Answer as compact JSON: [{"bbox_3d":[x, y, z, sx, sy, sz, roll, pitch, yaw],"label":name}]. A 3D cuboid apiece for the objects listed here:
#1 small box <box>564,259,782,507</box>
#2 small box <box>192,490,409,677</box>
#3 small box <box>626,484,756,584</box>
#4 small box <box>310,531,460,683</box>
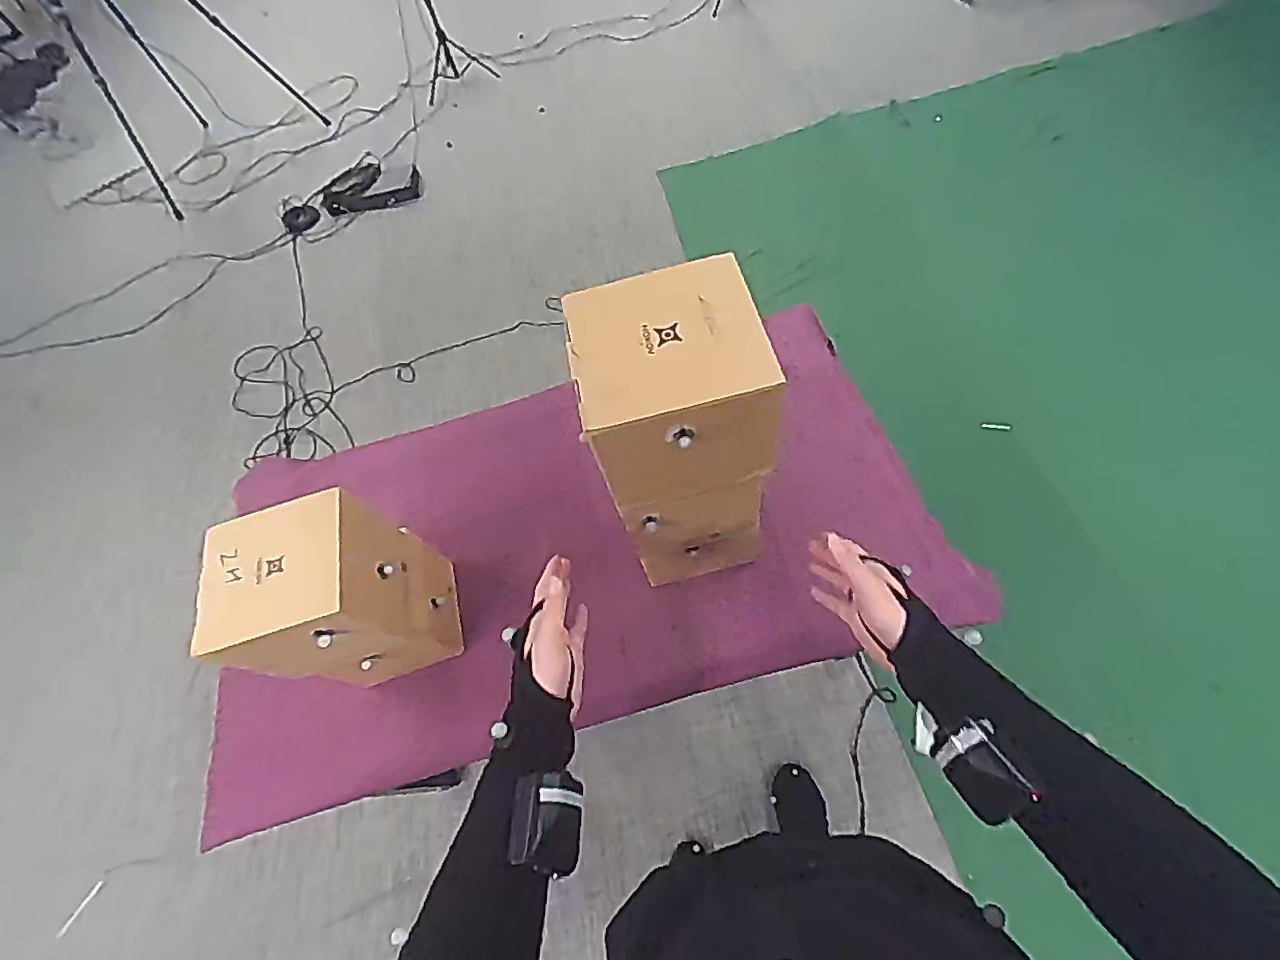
[{"bbox_3d":[0.034,-0.088,0.558,0.179,0.176,0.168,-13,62,2],"label":"small box"},{"bbox_3d":[-0.416,0.140,0.698,0.179,0.176,0.168,-18,61,0],"label":"small box"},{"bbox_3d":[0.075,0.050,0.853,0.179,0.176,0.168,-15,61,1],"label":"small box"},{"bbox_3d":[-0.399,0.205,0.850,0.179,0.176,0.168,-19,61,-1],"label":"small box"}]
